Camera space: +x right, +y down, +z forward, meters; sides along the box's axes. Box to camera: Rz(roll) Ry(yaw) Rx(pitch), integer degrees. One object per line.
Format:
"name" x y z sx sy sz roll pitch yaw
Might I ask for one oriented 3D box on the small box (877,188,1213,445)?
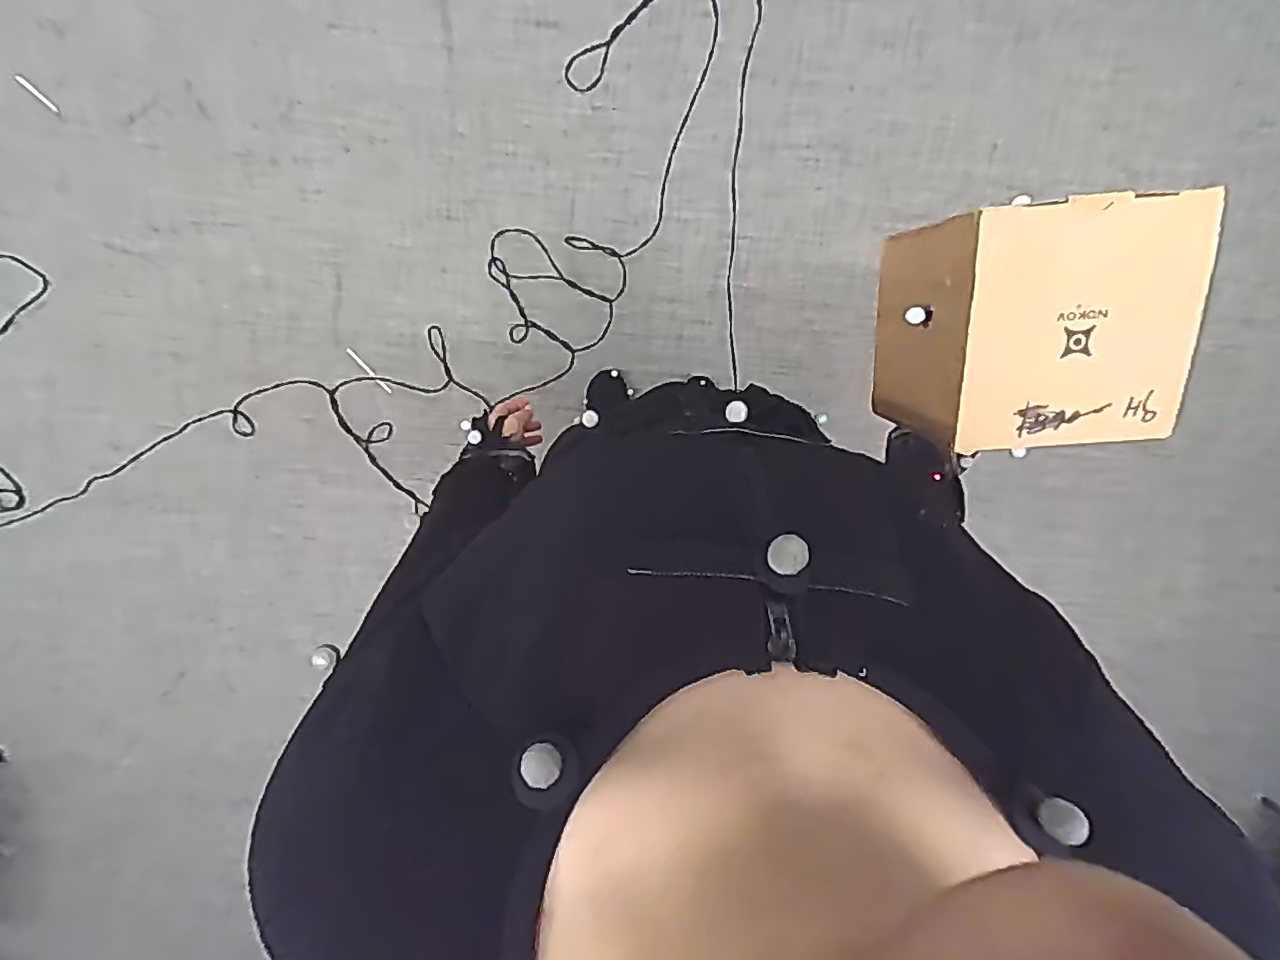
"small box" 0.325 -0.137 0.477 0.168 0.176 0.179 -4 107 3
